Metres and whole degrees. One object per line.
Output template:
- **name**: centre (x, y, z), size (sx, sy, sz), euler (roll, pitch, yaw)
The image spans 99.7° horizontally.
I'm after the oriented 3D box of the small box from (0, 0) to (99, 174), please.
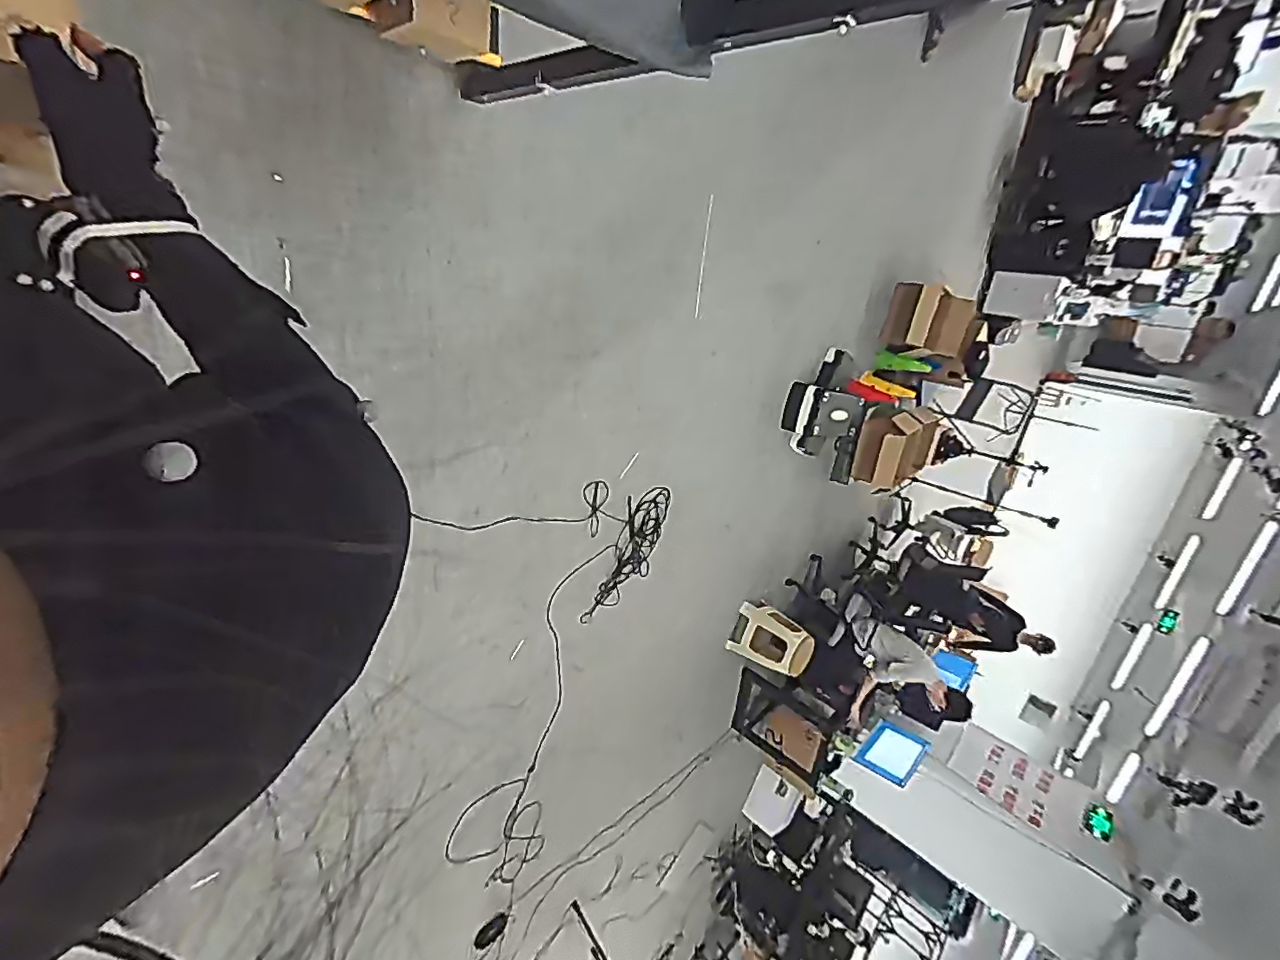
- **small box**: centre (-0.518, -0.363, 0.388), size (0.168, 0.176, 0.179), euler (-7, 92, -41)
